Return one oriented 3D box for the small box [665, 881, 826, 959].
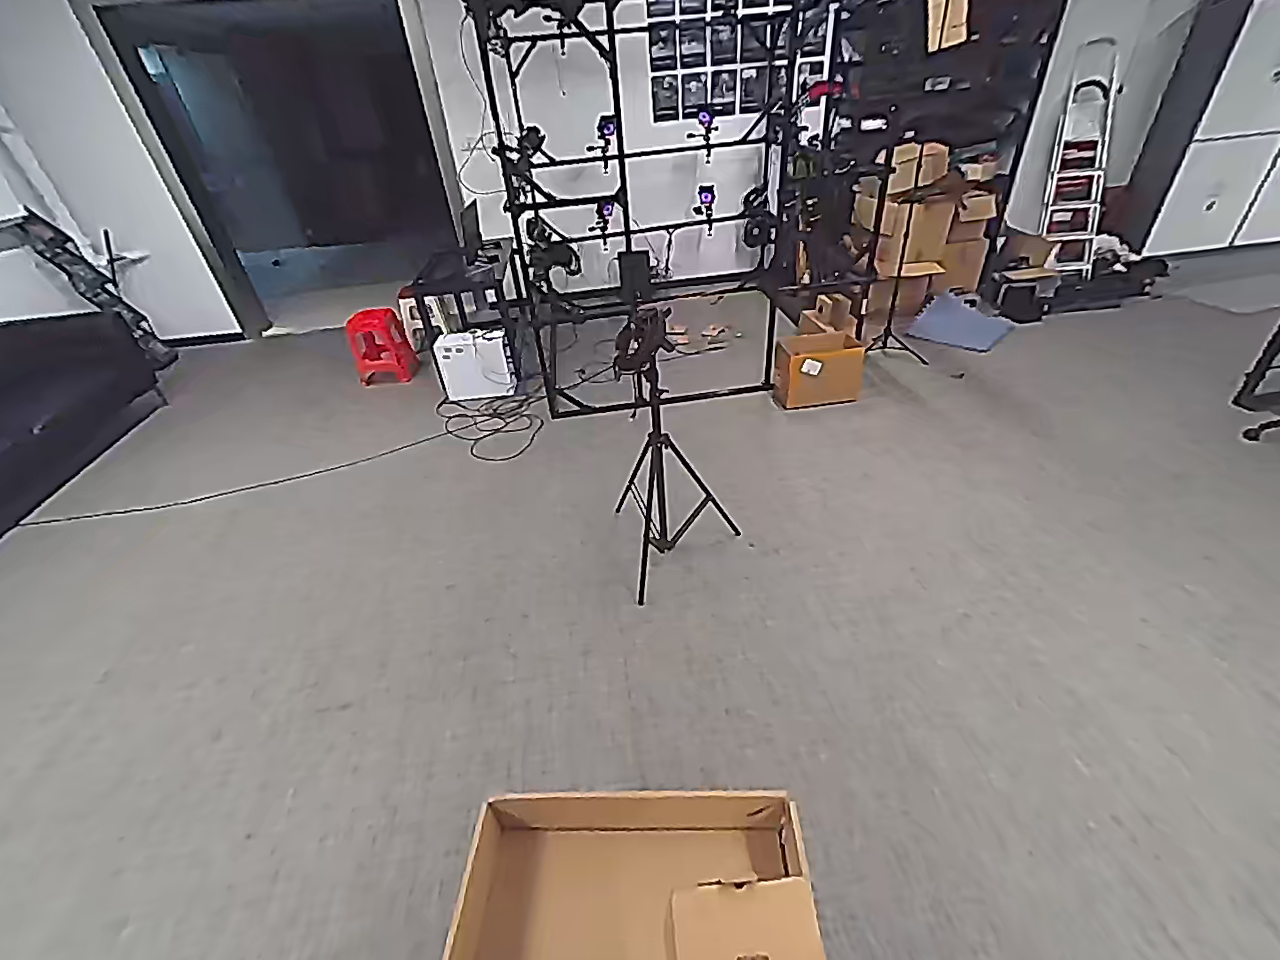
[{"bbox_3d":[0.119,0.592,0.614,0.168,0.176,0.179,-2,38,-3],"label":"small box"}]
